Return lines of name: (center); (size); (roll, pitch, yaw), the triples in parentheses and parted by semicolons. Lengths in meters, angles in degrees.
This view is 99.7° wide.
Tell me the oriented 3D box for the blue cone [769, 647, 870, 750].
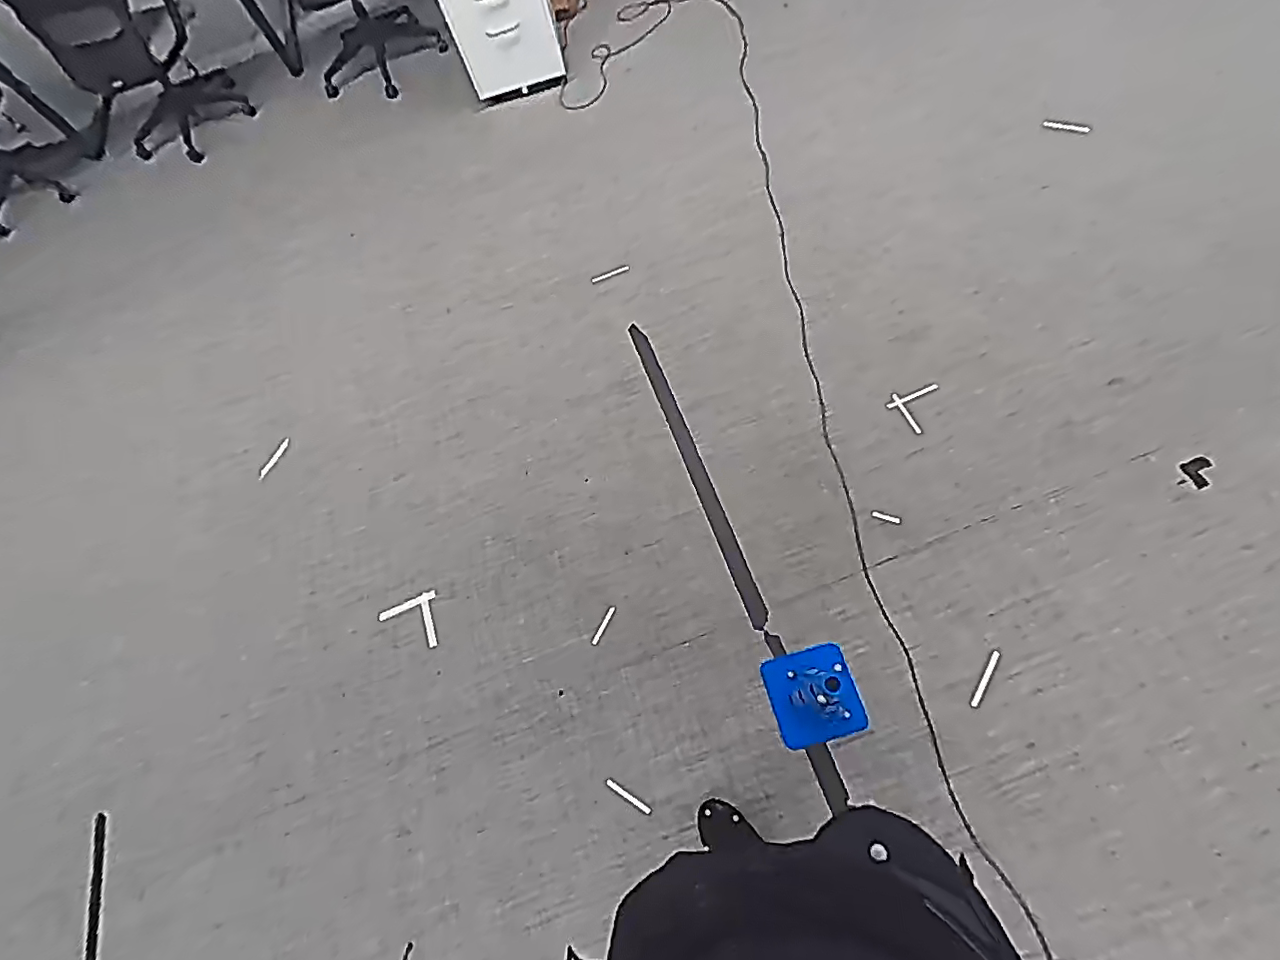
blue cone: (0.380, 0.427, 1.098); (0.193, 0.380, 0.192); (-19, 63, 2)
